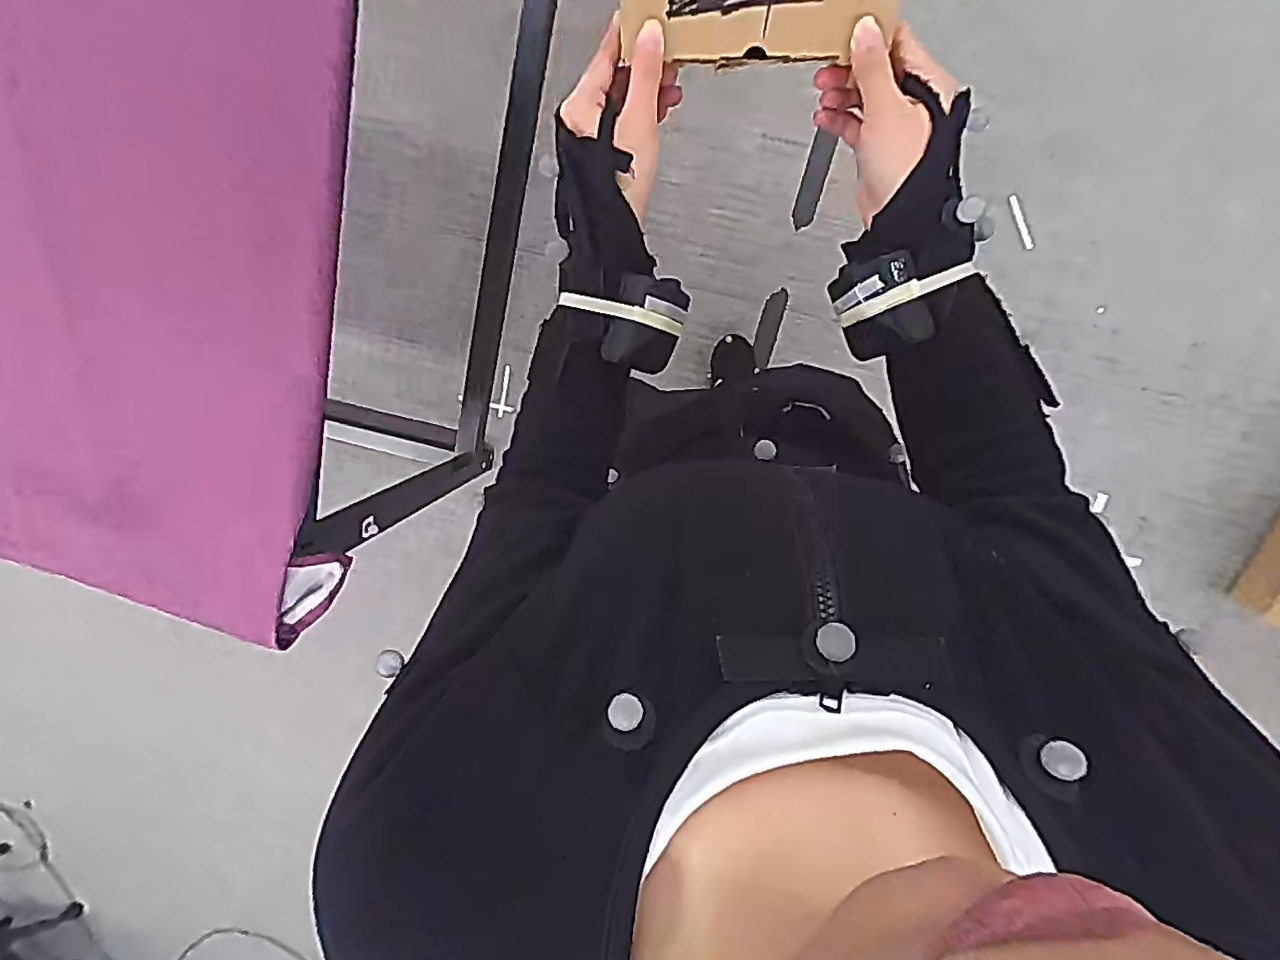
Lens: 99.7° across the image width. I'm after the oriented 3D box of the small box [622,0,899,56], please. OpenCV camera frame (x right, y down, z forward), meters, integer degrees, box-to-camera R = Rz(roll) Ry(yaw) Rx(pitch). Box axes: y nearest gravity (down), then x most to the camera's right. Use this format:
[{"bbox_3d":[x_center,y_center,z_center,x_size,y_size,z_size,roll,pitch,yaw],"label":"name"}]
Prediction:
[{"bbox_3d":[0.074,-0.381,0.344,0.168,0.176,0.179,0,127,1],"label":"small box"}]
